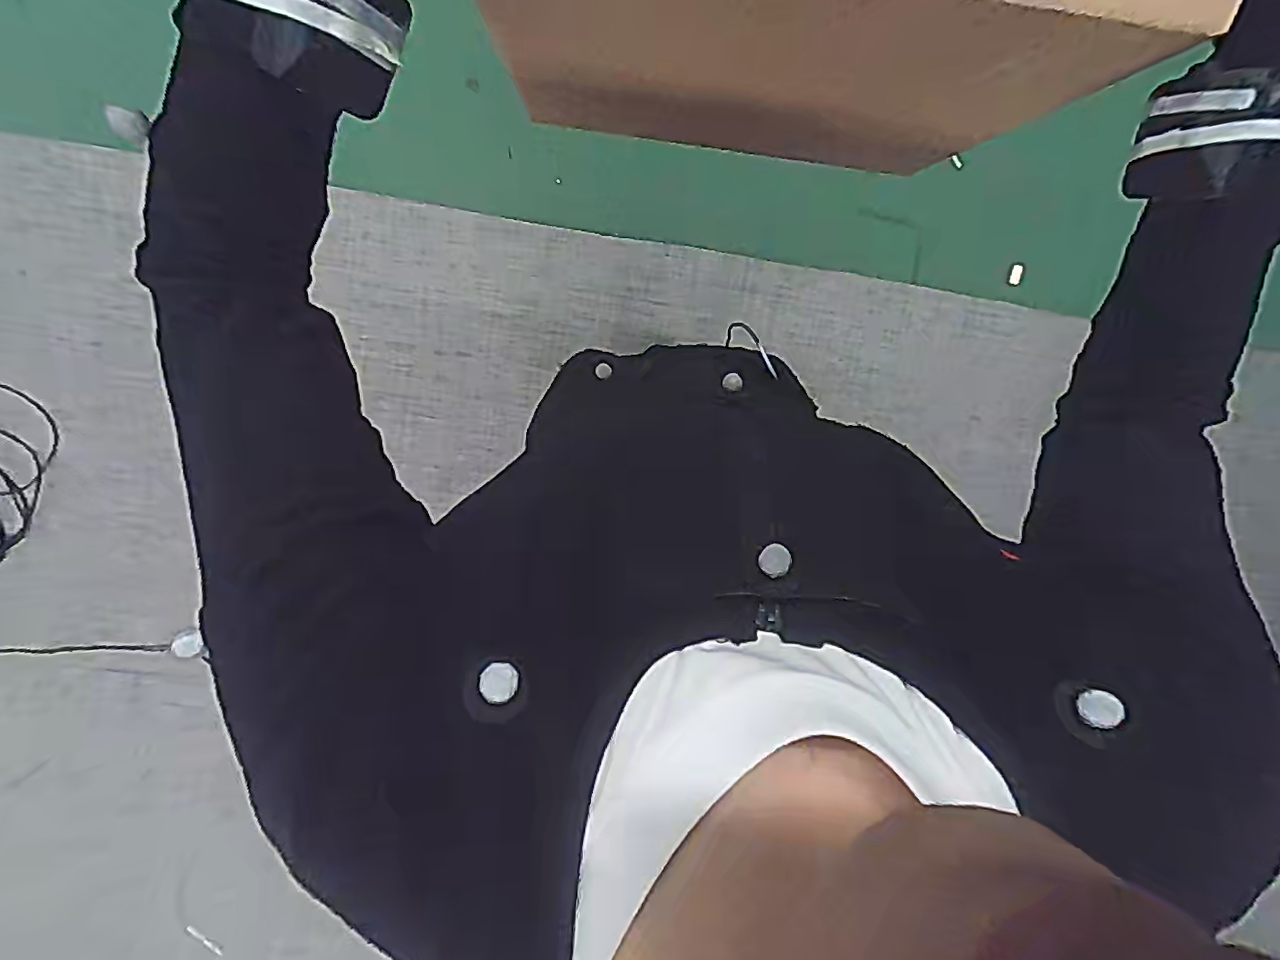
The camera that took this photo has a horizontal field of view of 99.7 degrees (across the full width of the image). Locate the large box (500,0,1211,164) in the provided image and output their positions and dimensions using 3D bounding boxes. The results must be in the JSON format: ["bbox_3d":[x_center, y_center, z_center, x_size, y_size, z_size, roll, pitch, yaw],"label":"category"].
[{"bbox_3d":[0.114,-0.449,0.376,0.408,0.320,0.320,4,108,-5],"label":"large box"}]
